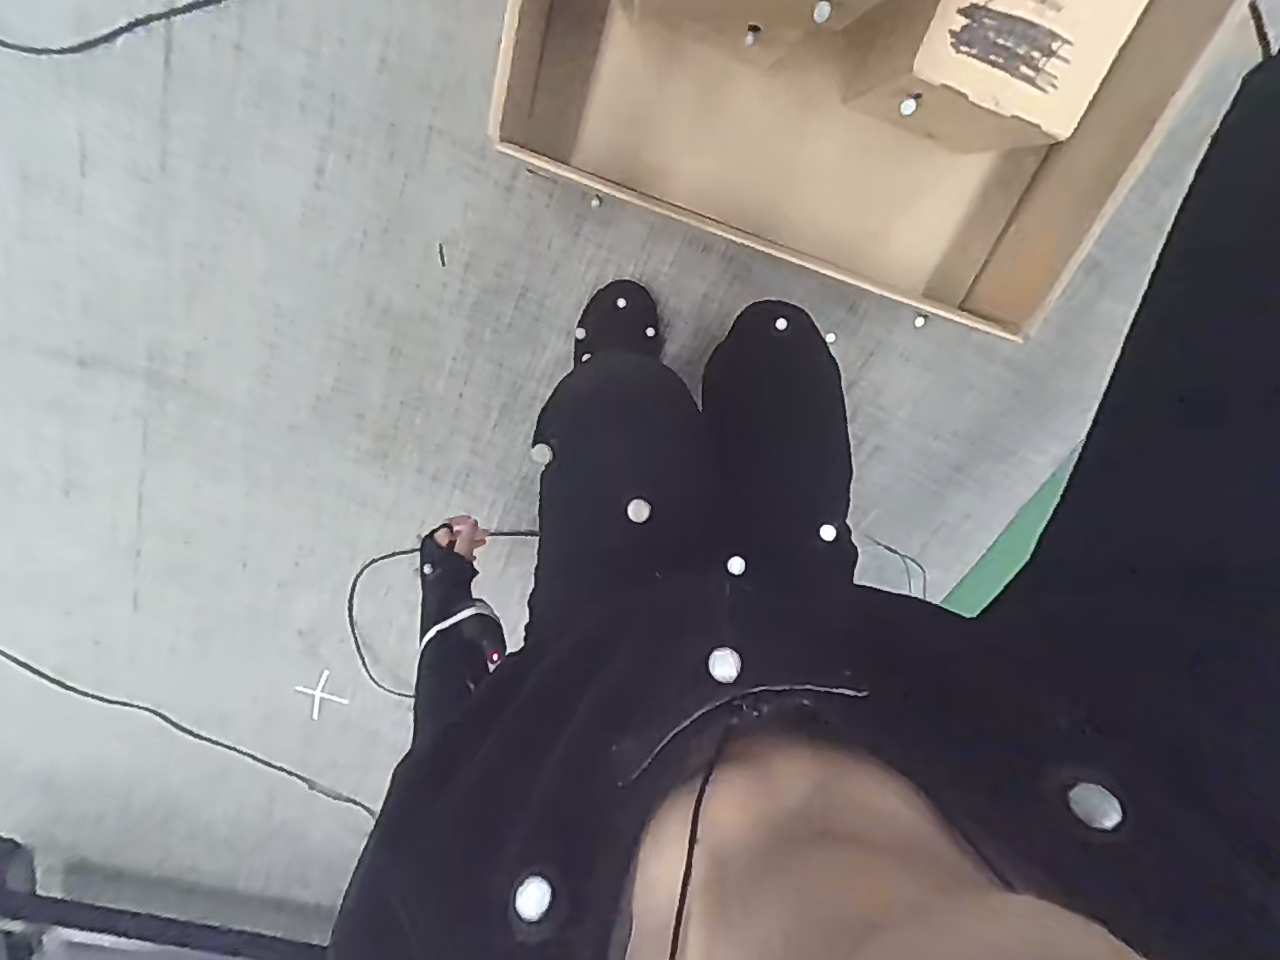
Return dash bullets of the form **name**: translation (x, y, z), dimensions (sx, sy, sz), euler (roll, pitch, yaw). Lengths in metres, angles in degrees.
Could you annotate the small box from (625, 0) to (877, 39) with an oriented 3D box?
- **small box**: translation (0.081, -0.409, 0.348), dimensions (0.179, 0.176, 0.168), euler (1, 118, -2)
